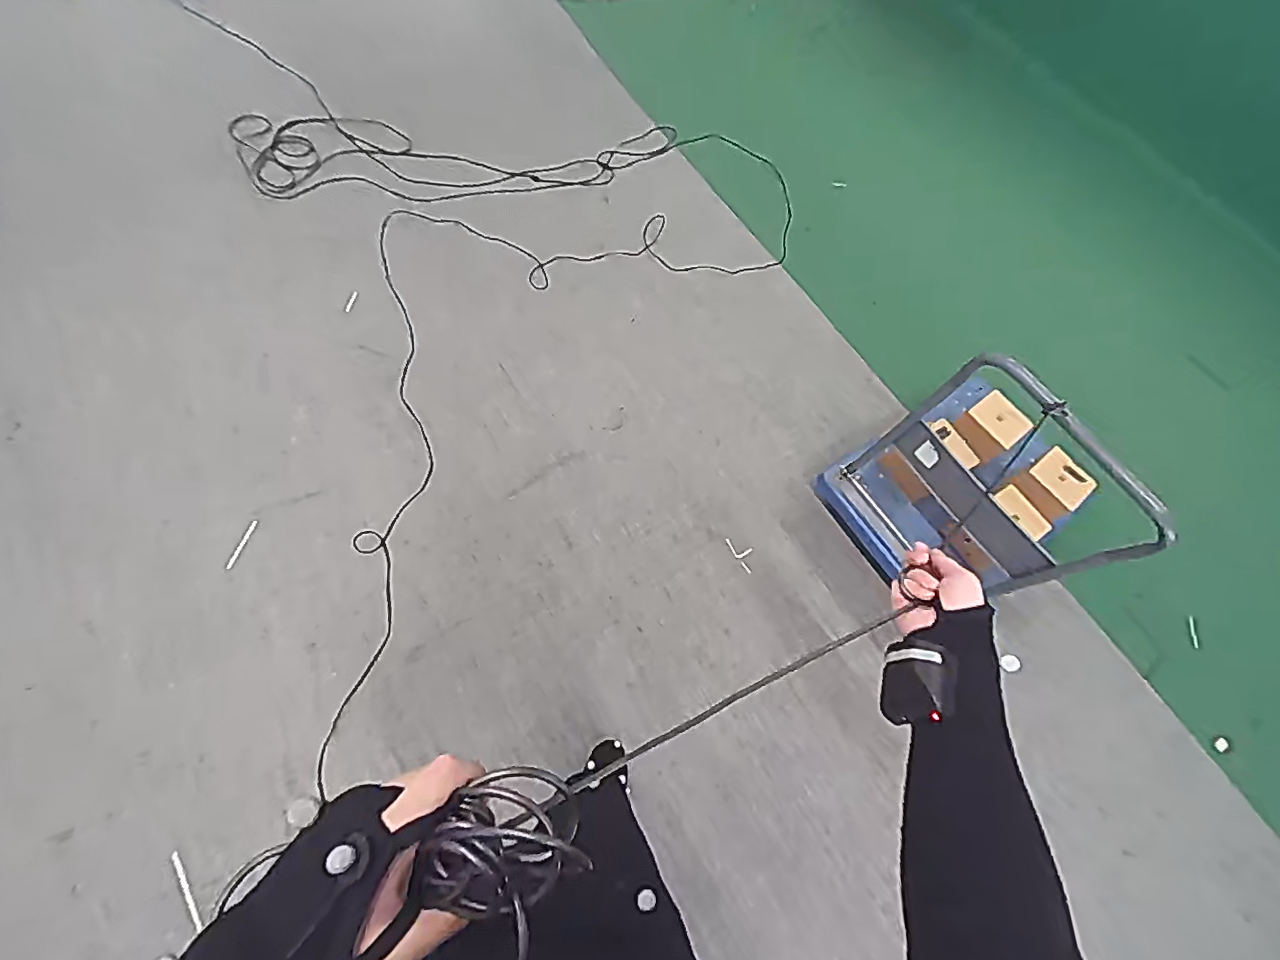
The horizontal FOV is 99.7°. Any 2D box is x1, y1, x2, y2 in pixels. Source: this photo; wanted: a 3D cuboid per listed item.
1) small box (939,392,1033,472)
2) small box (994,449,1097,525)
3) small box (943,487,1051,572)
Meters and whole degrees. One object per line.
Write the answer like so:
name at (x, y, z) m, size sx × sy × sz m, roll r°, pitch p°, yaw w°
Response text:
small box at (1.138, -0.155, 1.796) m, size 0.179 × 0.176 × 0.168 m, roll -31°, pitch 75°, yaw -23°
small box at (1.289, 0.036, 1.733) m, size 0.179 × 0.176 × 0.168 m, roll -32°, pitch 73°, yaw -22°
small box at (1.067, 0.151, 1.630) m, size 0.179 × 0.176 × 0.168 m, roll -27°, pitch 72°, yaw -21°
